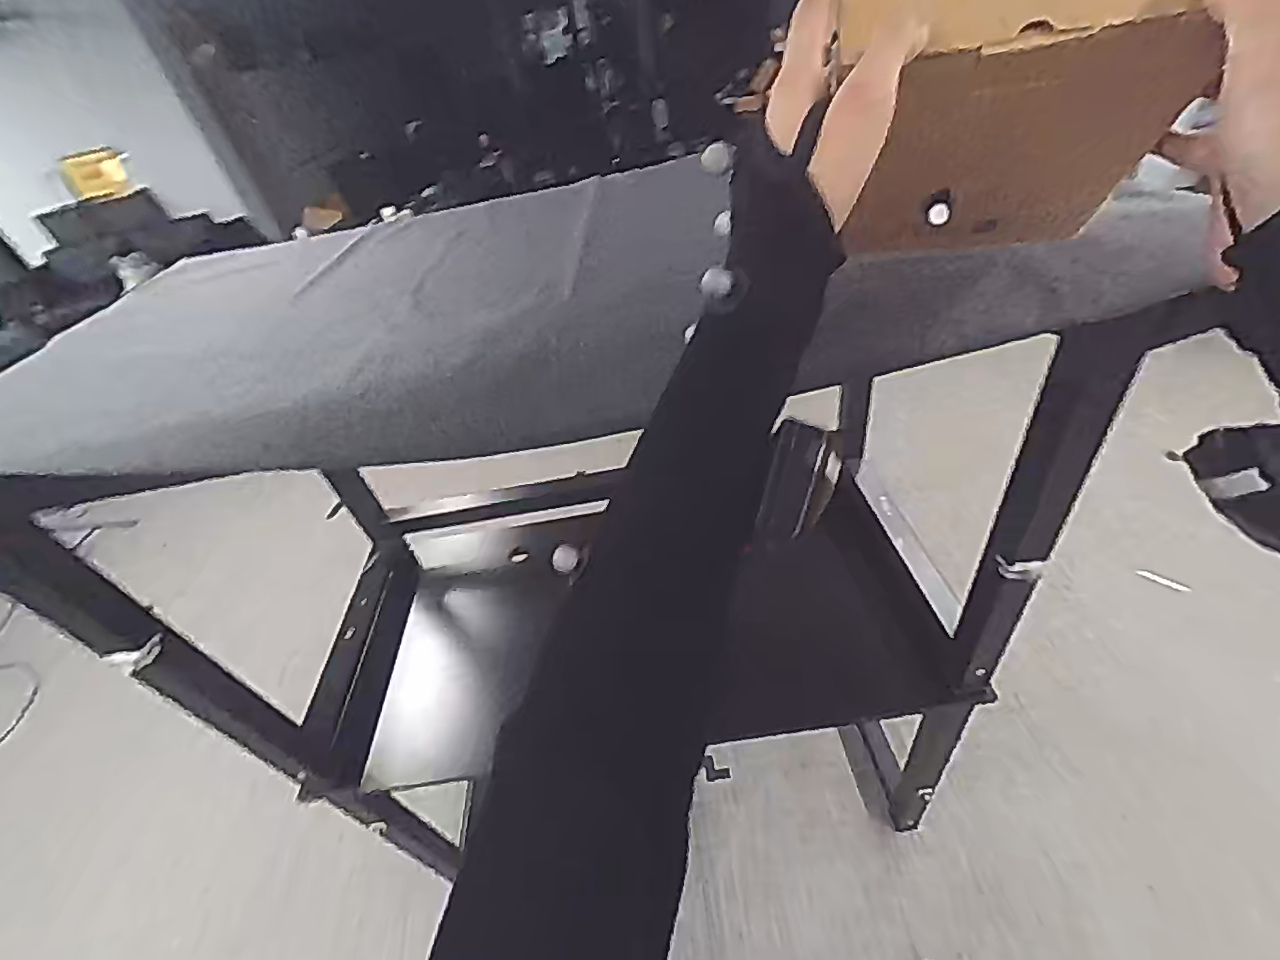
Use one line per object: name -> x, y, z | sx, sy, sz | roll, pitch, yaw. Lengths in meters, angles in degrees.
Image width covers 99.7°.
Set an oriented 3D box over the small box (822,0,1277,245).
small box -> 0.195, -0.265, 0.308 | 0.168, 0.176, 0.179 | 1, 83, 16
